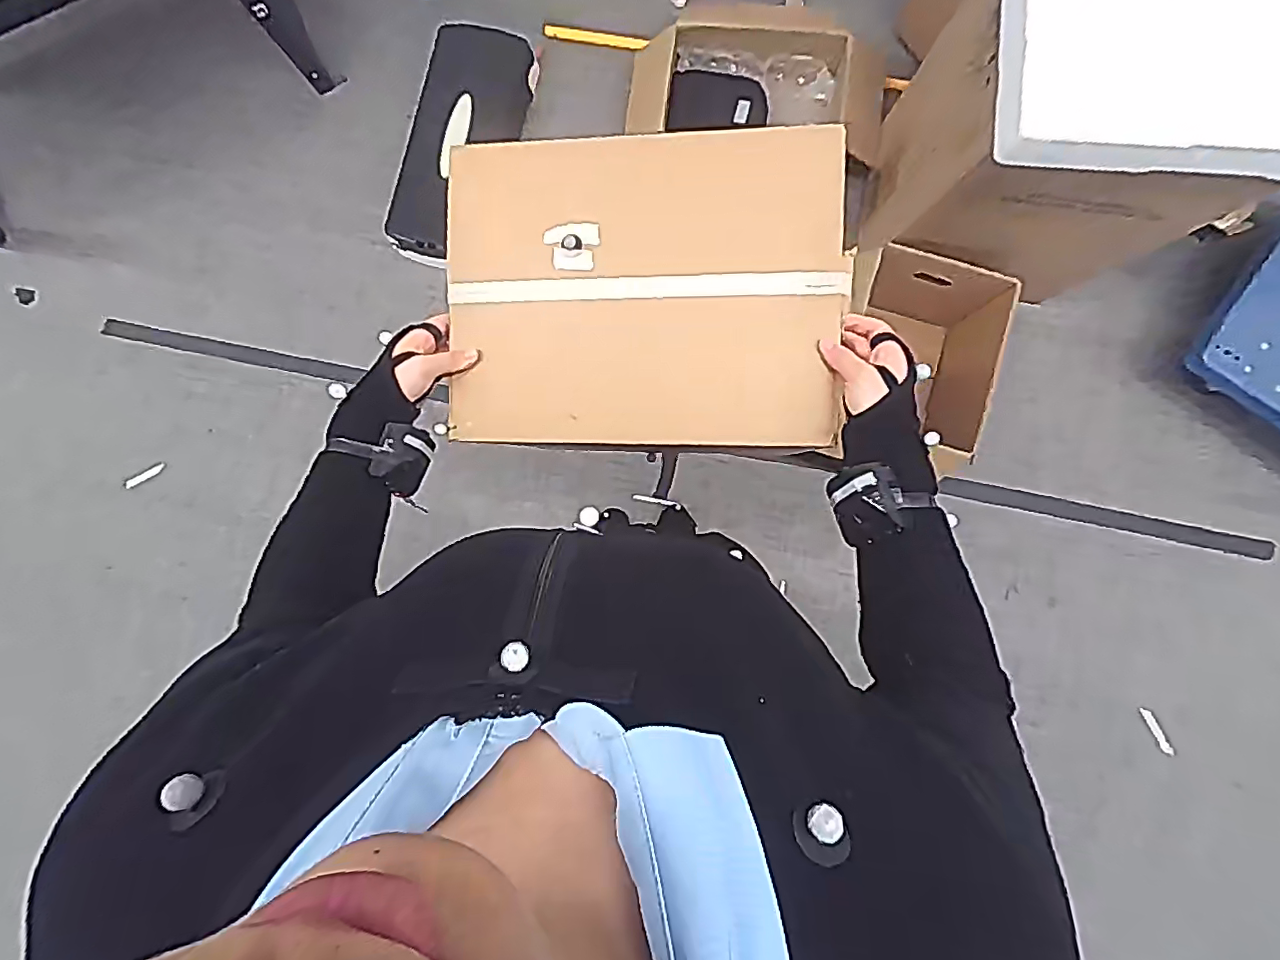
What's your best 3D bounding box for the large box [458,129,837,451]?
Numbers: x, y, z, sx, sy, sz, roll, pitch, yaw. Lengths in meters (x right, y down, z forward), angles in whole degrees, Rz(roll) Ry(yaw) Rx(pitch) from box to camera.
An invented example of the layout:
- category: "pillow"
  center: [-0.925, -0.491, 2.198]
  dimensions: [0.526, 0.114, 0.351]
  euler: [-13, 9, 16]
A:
- category: "large box"
  center: [0.022, -0.196, 0.710]
  dimensions: [0.408, 0.320, 0.320]
  euler: [1, 90, 9]
